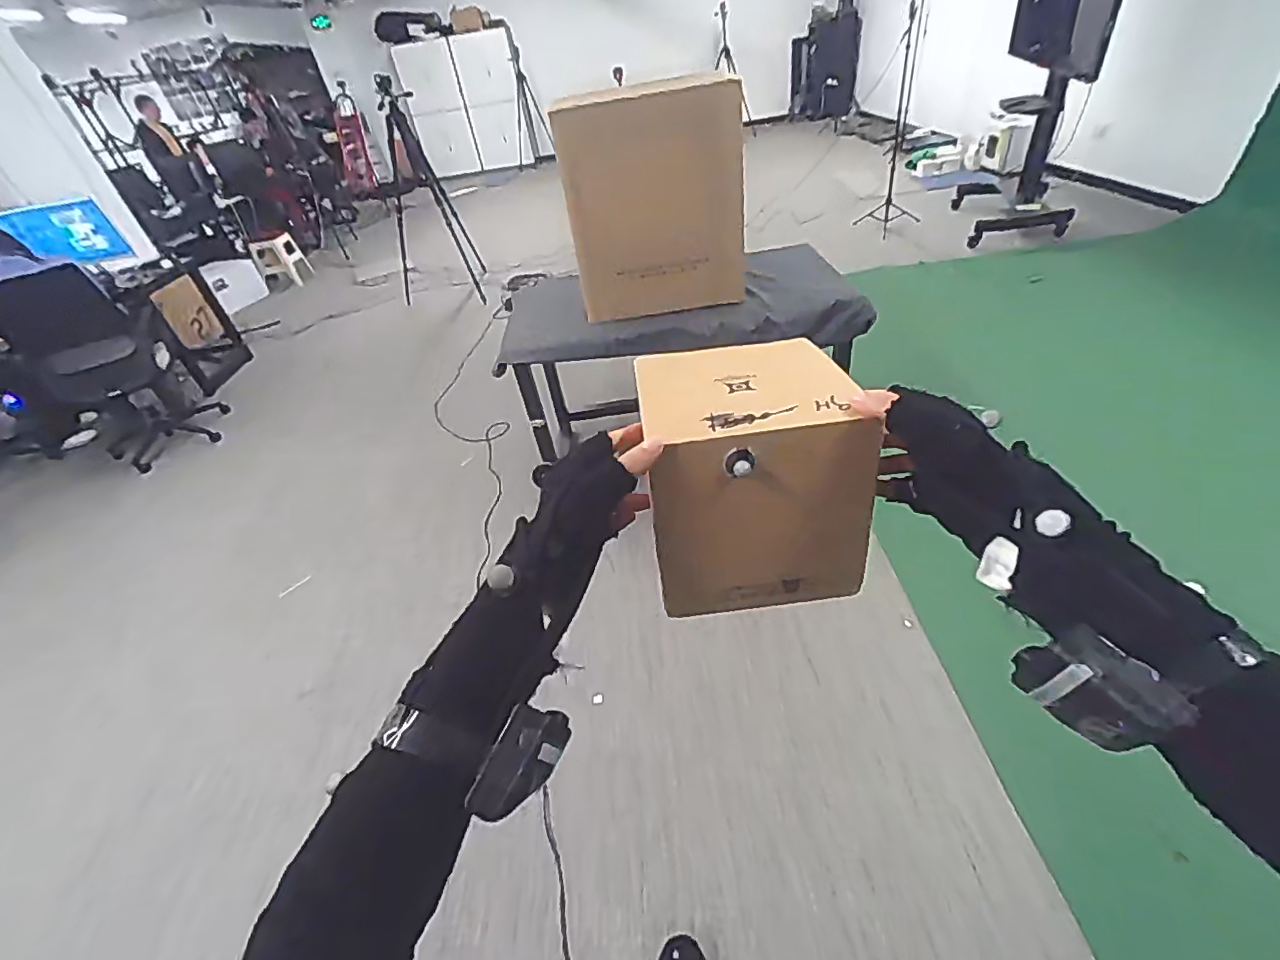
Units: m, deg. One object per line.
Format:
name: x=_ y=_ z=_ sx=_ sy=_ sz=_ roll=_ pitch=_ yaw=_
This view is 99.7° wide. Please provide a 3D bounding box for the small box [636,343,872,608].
small box: x=0.088 y=-0.010 z=0.492 sx=0.168 sy=0.176 sz=0.179 roll=-8 pitch=31 yaw=1
